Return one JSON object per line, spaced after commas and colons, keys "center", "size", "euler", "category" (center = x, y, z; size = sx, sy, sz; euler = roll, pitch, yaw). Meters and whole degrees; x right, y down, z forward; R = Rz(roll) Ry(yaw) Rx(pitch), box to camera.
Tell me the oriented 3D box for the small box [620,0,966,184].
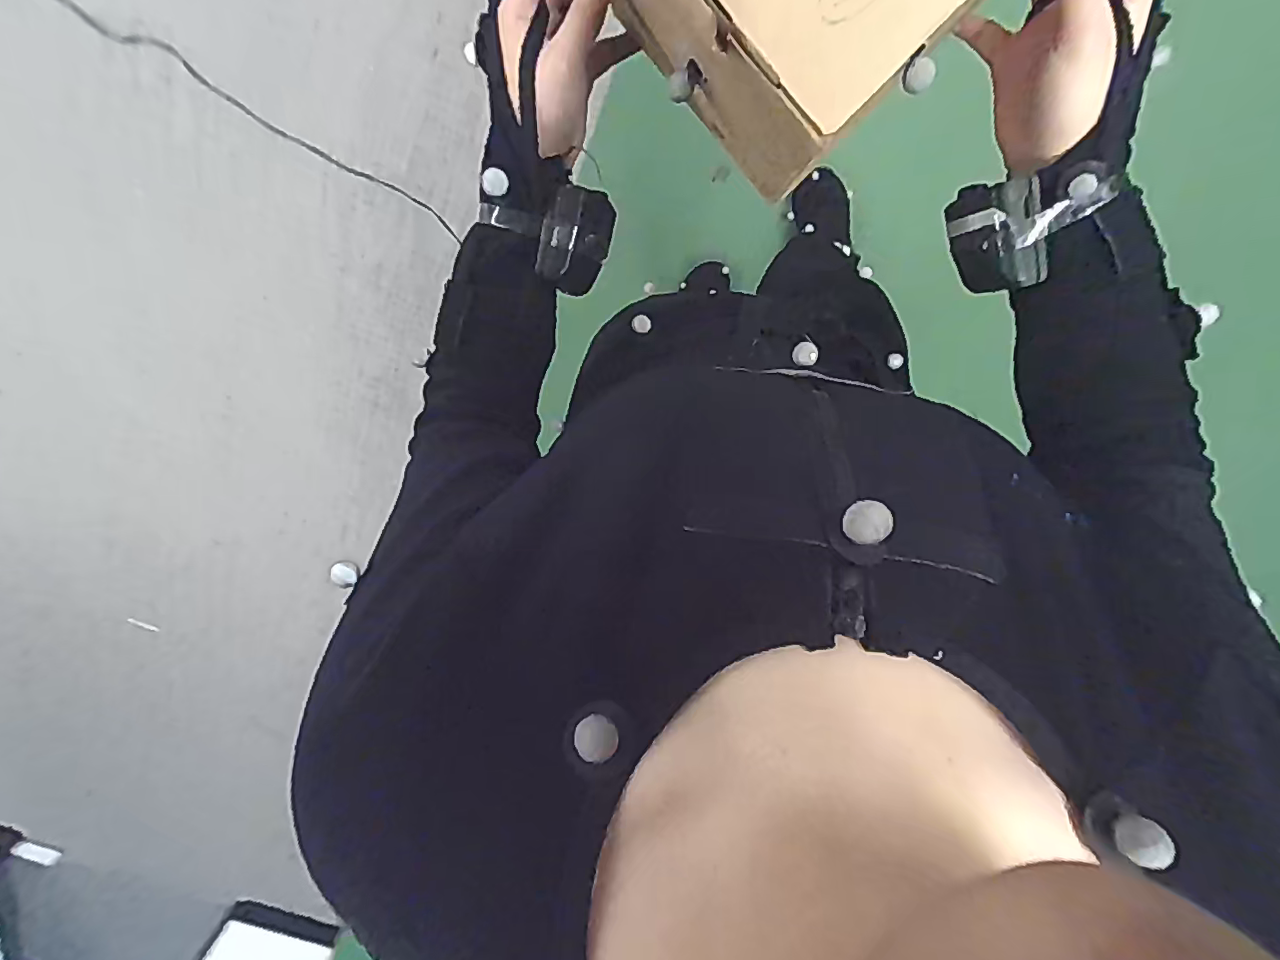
{"center": [0.087, -0.286, 0.272], "size": [0.168, 0.176, 0.179], "euler": [44, 109, -9], "category": "small box"}
